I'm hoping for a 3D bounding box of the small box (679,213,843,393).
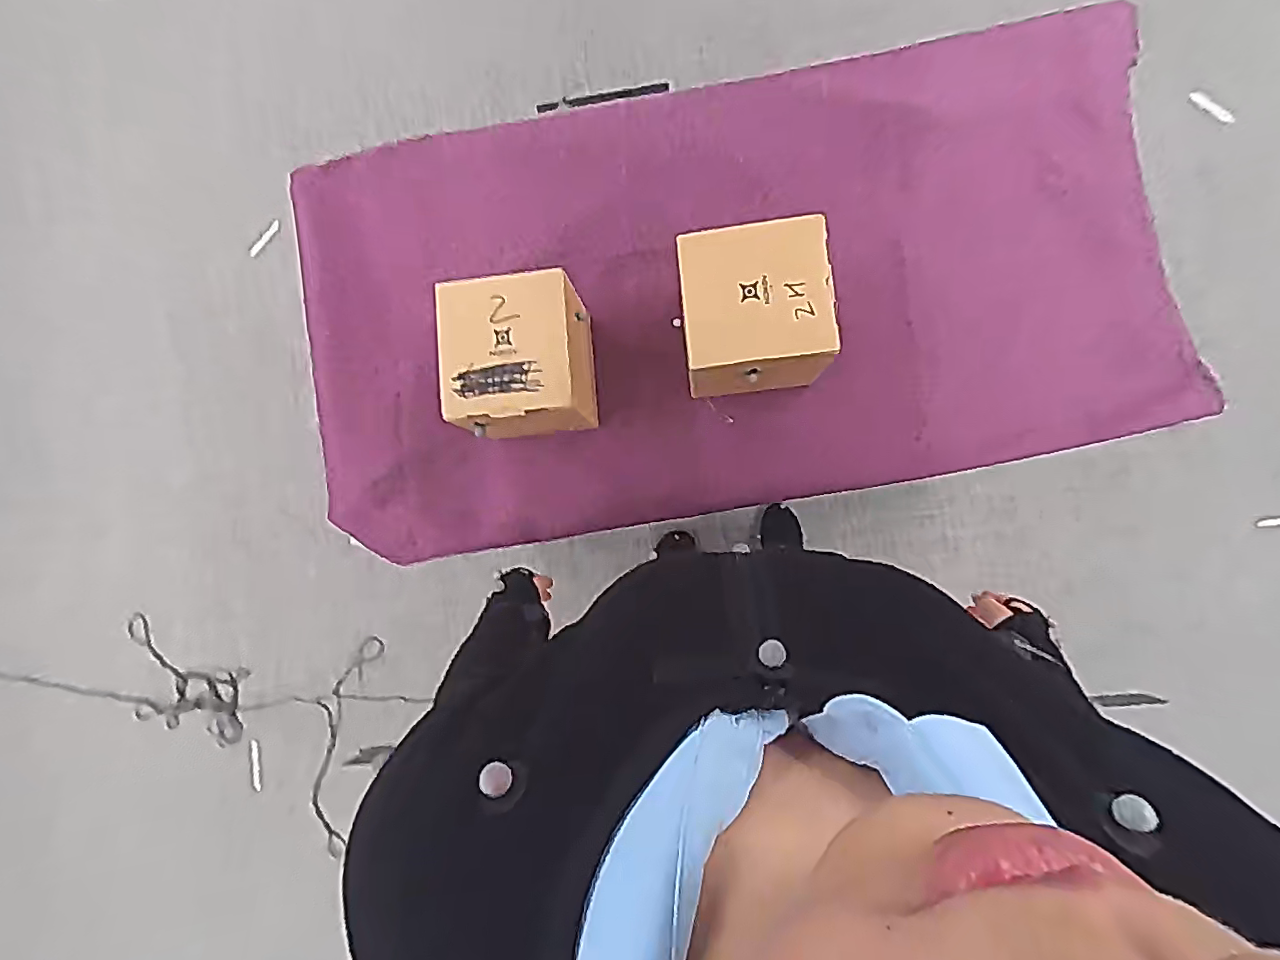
[{"bbox_3d":[0.149,-0.216,0.707,0.179,0.176,0.168,-5,86,6],"label":"small box"}]
